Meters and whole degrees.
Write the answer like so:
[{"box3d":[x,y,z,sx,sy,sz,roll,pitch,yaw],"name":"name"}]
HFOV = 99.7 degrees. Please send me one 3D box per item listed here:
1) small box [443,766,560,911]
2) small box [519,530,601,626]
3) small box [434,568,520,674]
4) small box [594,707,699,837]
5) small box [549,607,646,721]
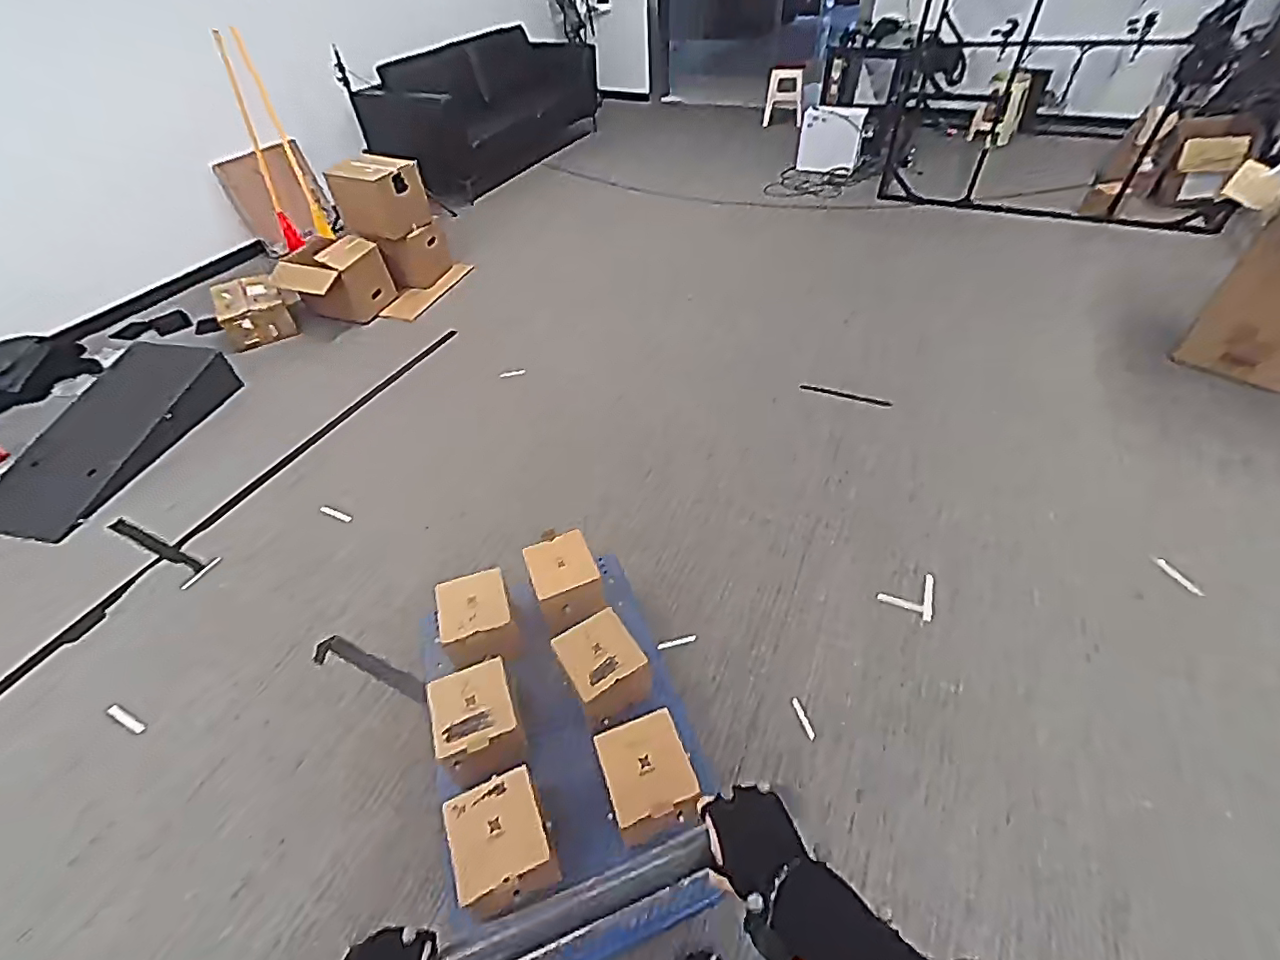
[{"box3d":[-0.263,0.699,1.050,0.168,0.176,0.179,-19,48,-17],"name":"small box"},{"box3d":[-0.213,0.272,1.465,0.168,0.176,0.179,-20,48,-16],"name":"small box"},{"box3d":[-0.415,0.362,1.385,0.168,0.176,0.179,-16,48,-12],"name":"small box"},{"box3d":[0.012,0.613,1.126,0.168,0.176,0.179,-16,47,-14],"name":"small box"},{"box3d":[-0.096,0.447,1.290,0.168,0.176,0.179,-27,50,-22],"name":"small box"}]
